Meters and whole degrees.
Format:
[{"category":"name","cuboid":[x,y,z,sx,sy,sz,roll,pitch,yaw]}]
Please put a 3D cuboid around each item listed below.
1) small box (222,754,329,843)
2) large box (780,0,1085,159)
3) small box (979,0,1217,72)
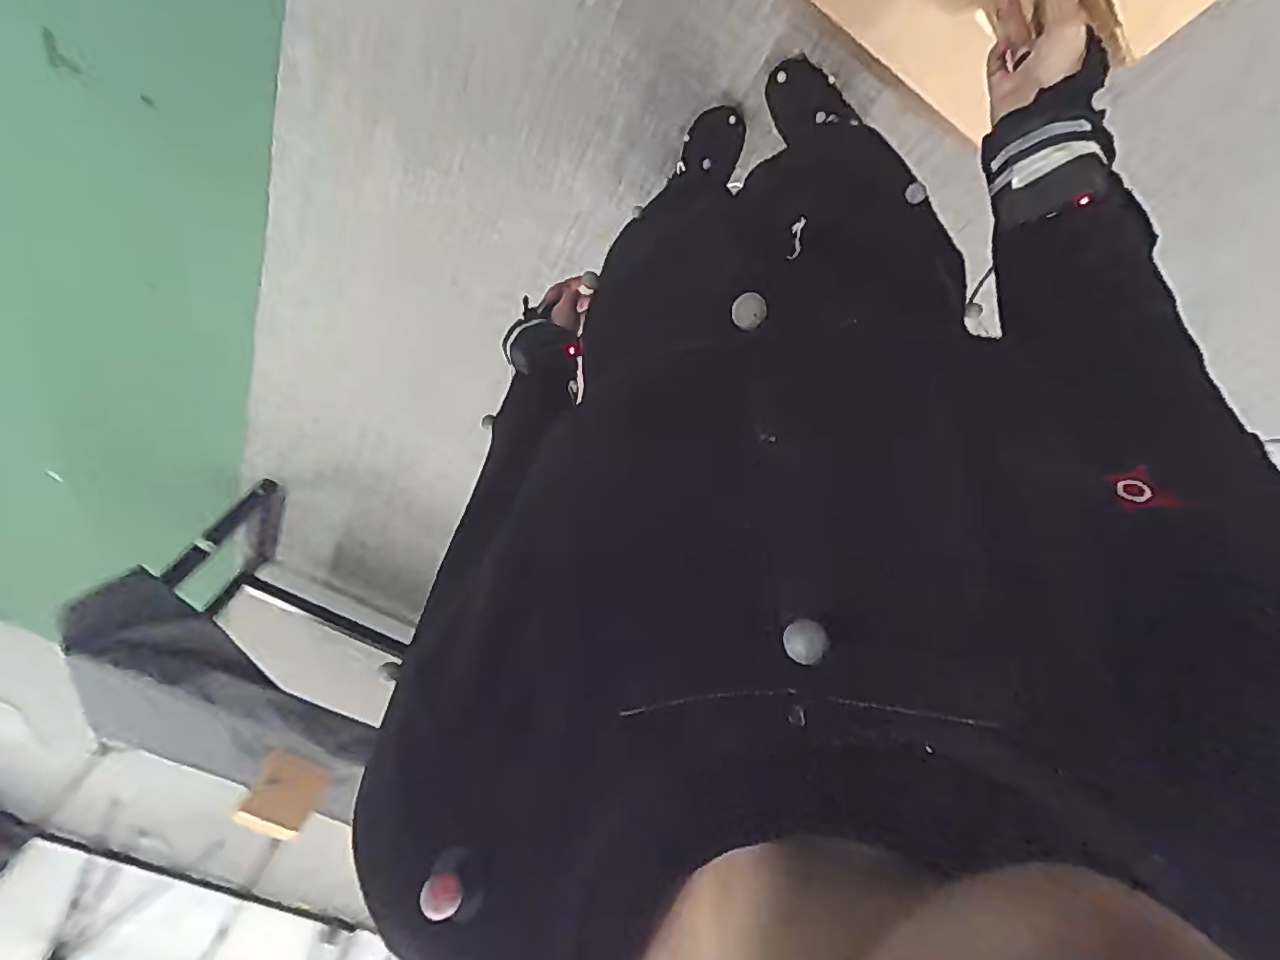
[{"category":"small box","cuboid":[-1.045,0.910,1.556,0.179,0.176,0.168,36,129,-18]},{"category":"large box","cuboid":[0.444,-0.736,0.752,0.408,0.320,0.320,29,130,-13]},{"category":"small box","cuboid":[0.371,-0.446,0.396,0.179,0.176,0.168,-37,114,26]}]
